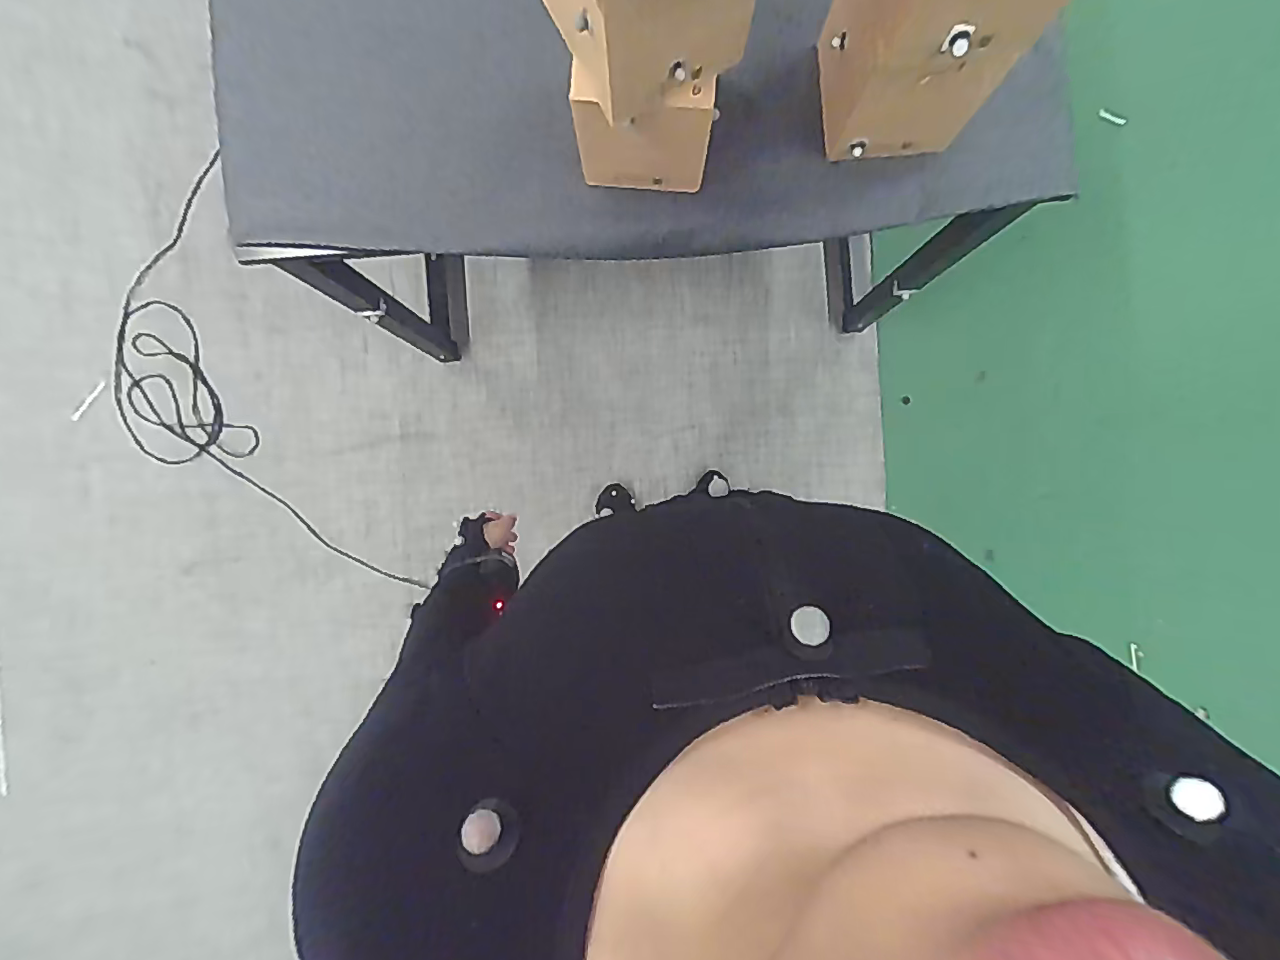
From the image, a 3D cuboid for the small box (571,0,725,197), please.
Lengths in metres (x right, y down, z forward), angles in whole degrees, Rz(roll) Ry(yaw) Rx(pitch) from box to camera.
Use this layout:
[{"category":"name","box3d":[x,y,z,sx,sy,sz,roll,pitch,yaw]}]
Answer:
[{"category":"small box","box3d":[0.010,-0.498,0.692,0.168,0.176,0.179,5,87,1]}]

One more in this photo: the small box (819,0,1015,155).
[{"category":"small box","box3d":[0.337,-0.542,0.686,0.168,0.176,0.179,-4,86,1]}]
